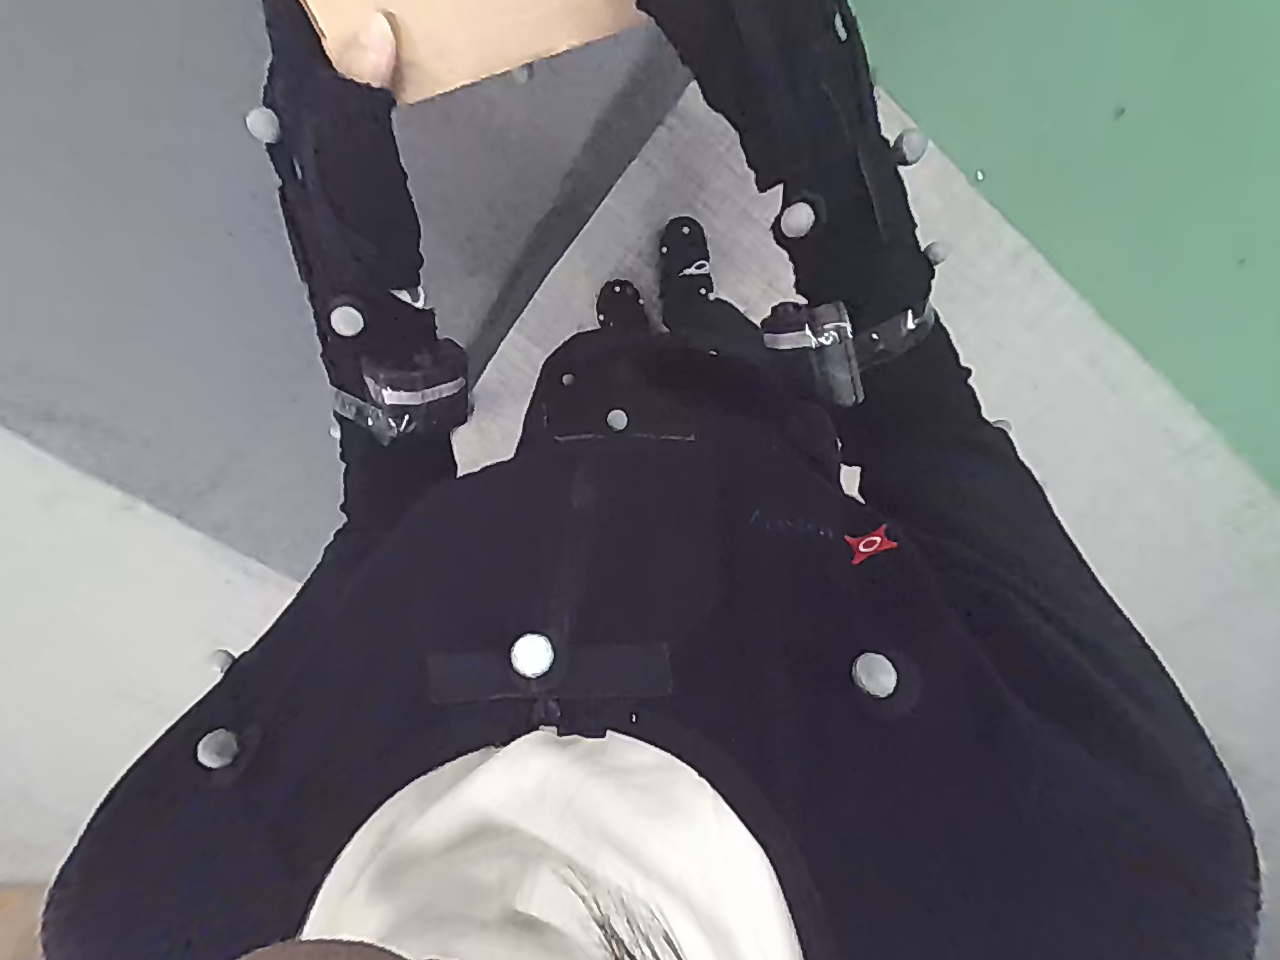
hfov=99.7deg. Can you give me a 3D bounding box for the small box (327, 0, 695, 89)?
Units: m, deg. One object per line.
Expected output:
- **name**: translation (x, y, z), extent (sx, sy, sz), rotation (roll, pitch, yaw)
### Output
- **small box**: translation (-0.066, -0.313, 0.244), extent (0.179, 0.176, 0.168), rotation (-11, 138, 7)
